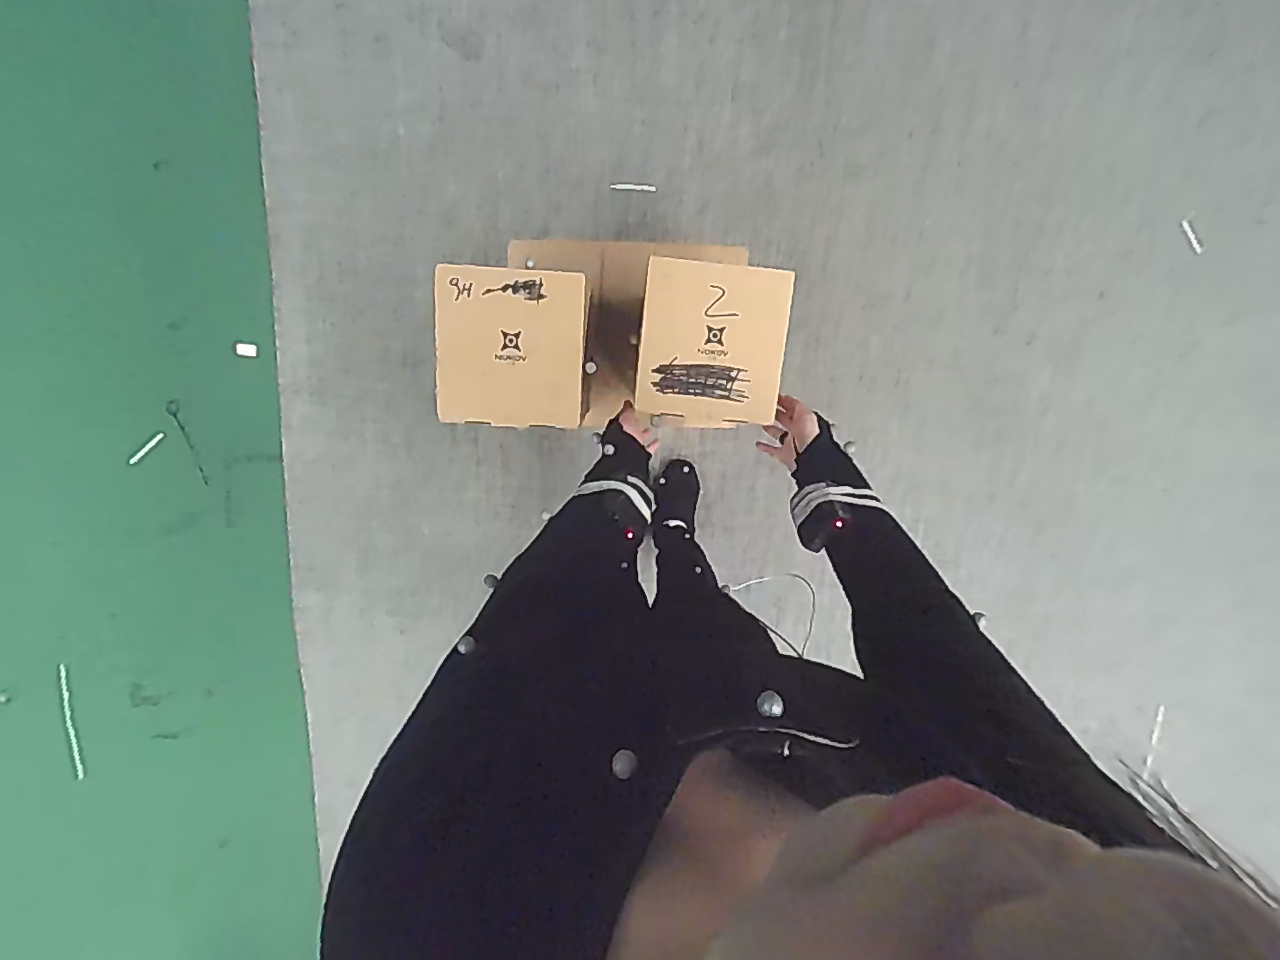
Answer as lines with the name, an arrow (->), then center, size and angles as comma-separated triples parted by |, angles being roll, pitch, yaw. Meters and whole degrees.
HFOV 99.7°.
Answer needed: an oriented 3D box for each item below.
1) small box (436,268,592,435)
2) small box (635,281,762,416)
small box -> -0.149, -0.160, 0.688 | 0.168, 0.176, 0.179 | 3, 102, -3
small box -> 0.083, -0.201, 0.851 | 0.168, 0.176, 0.179 | 5, 100, -2
